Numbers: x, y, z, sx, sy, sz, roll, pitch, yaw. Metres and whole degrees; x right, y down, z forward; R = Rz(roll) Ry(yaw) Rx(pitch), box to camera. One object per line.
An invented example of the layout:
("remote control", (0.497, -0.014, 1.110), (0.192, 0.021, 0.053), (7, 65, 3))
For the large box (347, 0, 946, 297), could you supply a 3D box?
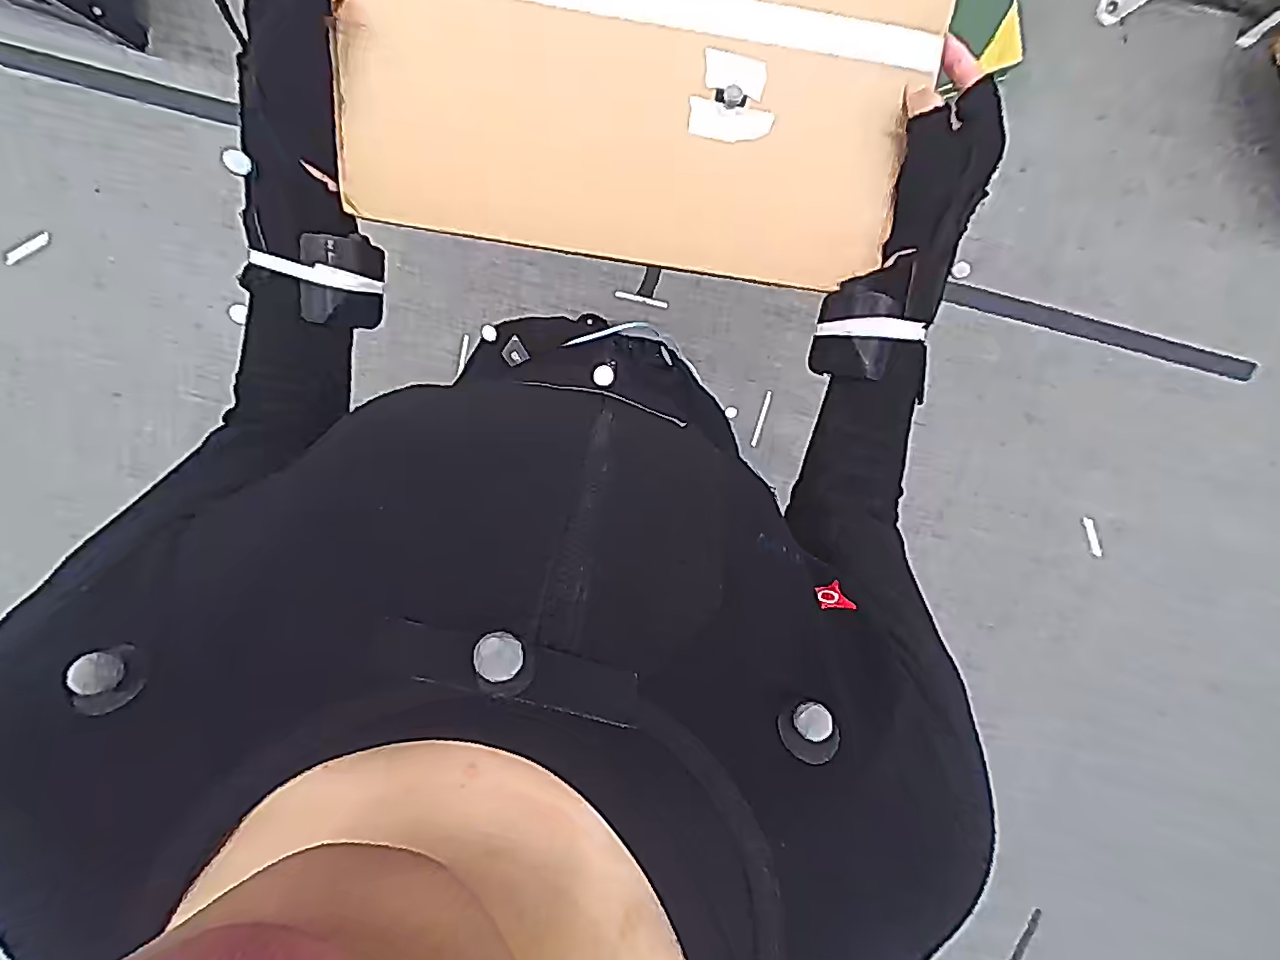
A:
("large box", (-0.001, -0.366, 0.504), (0.408, 0.320, 0.320), (7, 113, -5))
